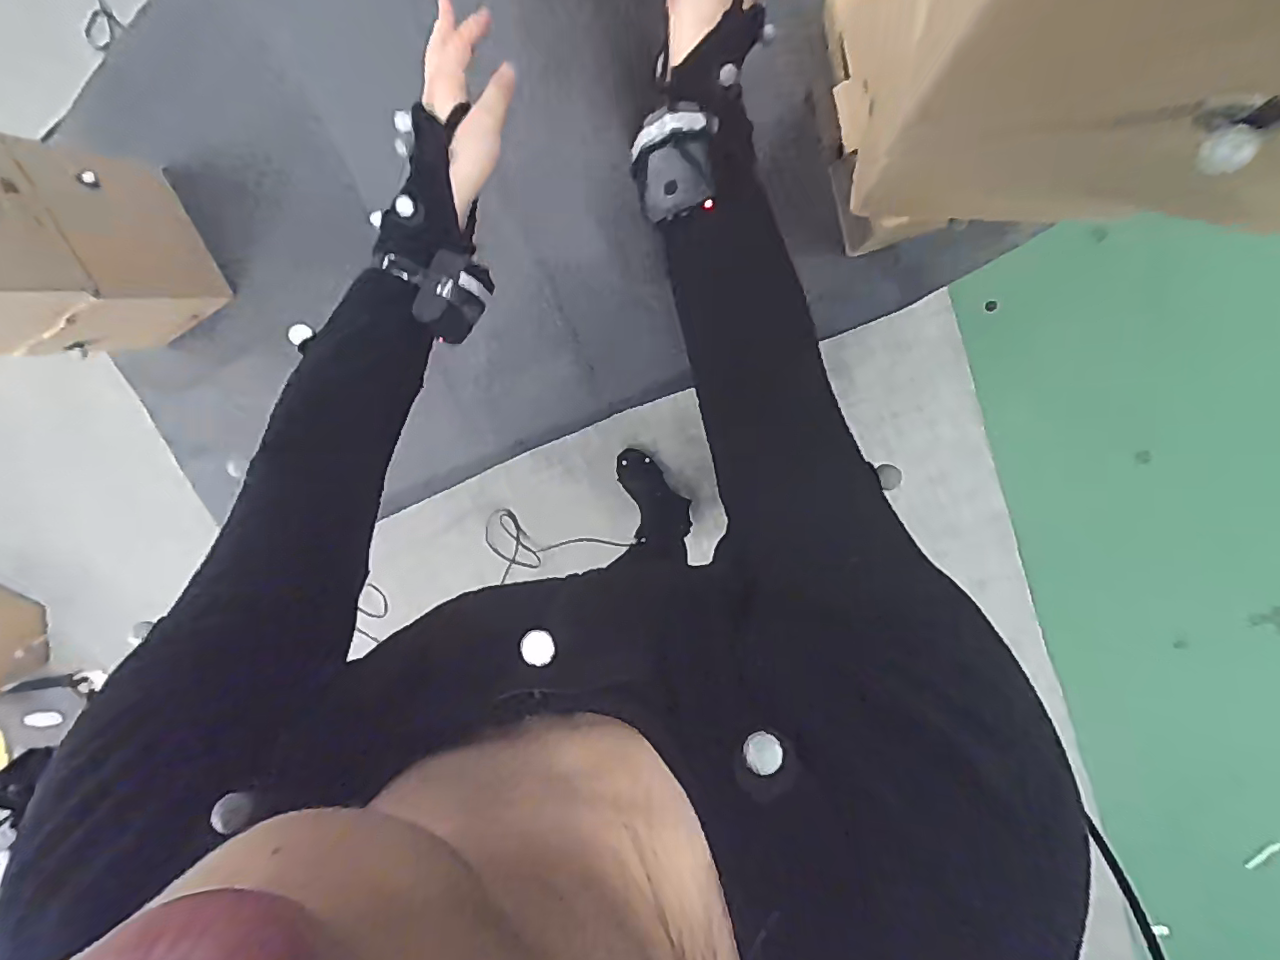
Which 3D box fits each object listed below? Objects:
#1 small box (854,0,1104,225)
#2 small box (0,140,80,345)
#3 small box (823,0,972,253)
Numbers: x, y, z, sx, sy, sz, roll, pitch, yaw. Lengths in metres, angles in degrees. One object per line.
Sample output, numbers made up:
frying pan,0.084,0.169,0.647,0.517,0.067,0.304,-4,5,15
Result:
small box,0.221,-0.235,0.277,0.179,0.176,0.168,7,108,11
small box,-0.690,-0.219,0.491,0.179,0.176,0.168,-19,105,18
small box,0.249,-0.295,0.428,0.179,0.176,0.168,-13,102,18
